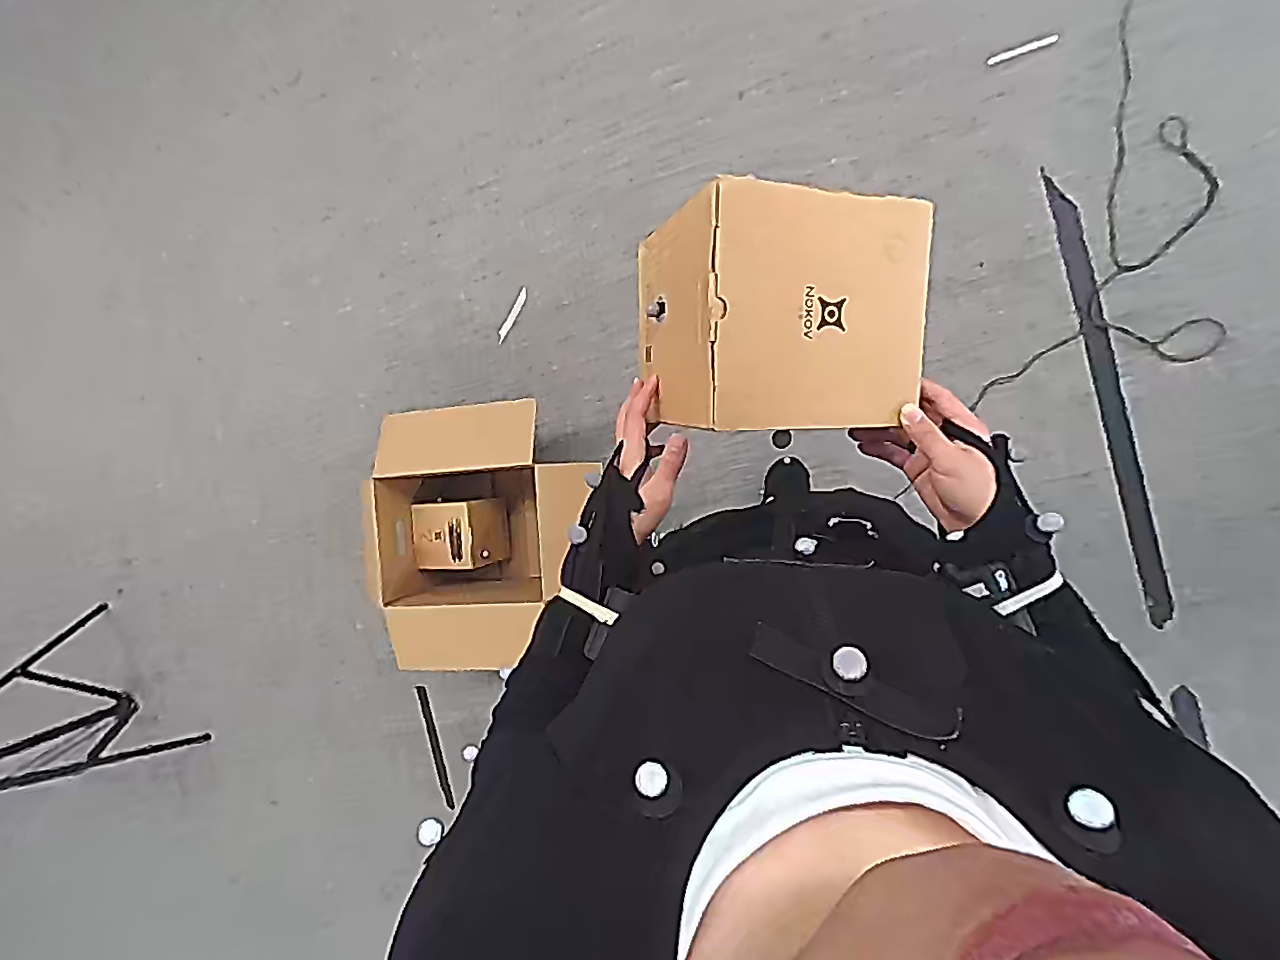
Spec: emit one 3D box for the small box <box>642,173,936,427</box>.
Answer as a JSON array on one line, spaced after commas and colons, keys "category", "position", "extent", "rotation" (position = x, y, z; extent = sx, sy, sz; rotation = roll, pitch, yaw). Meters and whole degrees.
[{"category": "small box", "position": [0.110, -0.134, 0.460], "extent": [0.179, 0.176, 0.168], "rotation": [-3, 100, -17]}]
